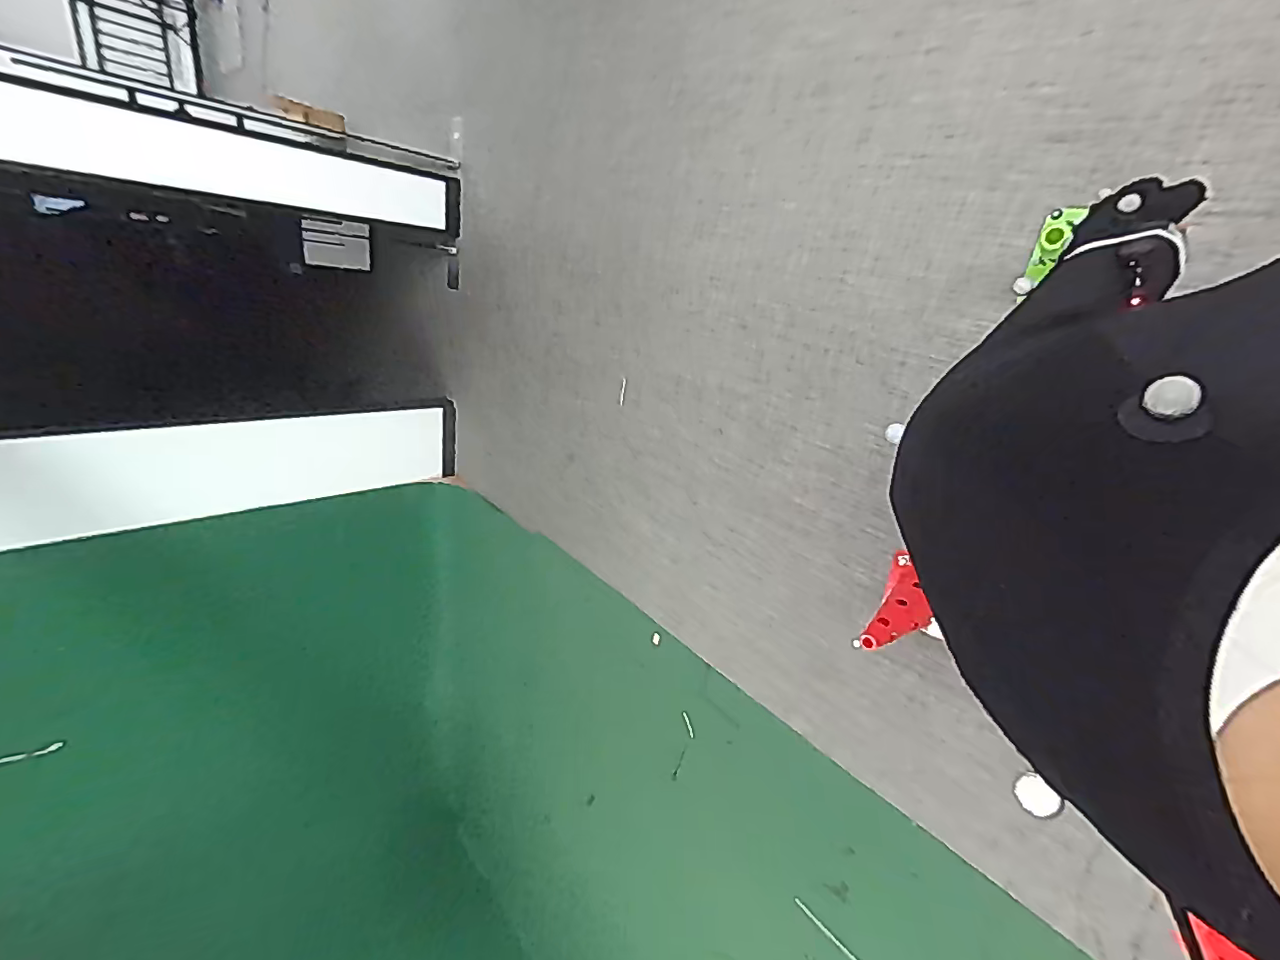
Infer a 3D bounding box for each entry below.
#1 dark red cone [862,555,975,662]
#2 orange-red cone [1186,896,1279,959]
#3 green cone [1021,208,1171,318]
[{"bbox_3d":[0.644,0.345,1.322,0.202,0.394,0.201,22,116,42],"label":"dark red cone"},{"bbox_3d":[1.149,0.993,0.971,0.198,0.360,0.199,29,118,38],"label":"orange-red cone"},{"bbox_3d":[0.811,-0.421,1.000,0.202,0.368,0.200,26,118,39],"label":"green cone"}]
